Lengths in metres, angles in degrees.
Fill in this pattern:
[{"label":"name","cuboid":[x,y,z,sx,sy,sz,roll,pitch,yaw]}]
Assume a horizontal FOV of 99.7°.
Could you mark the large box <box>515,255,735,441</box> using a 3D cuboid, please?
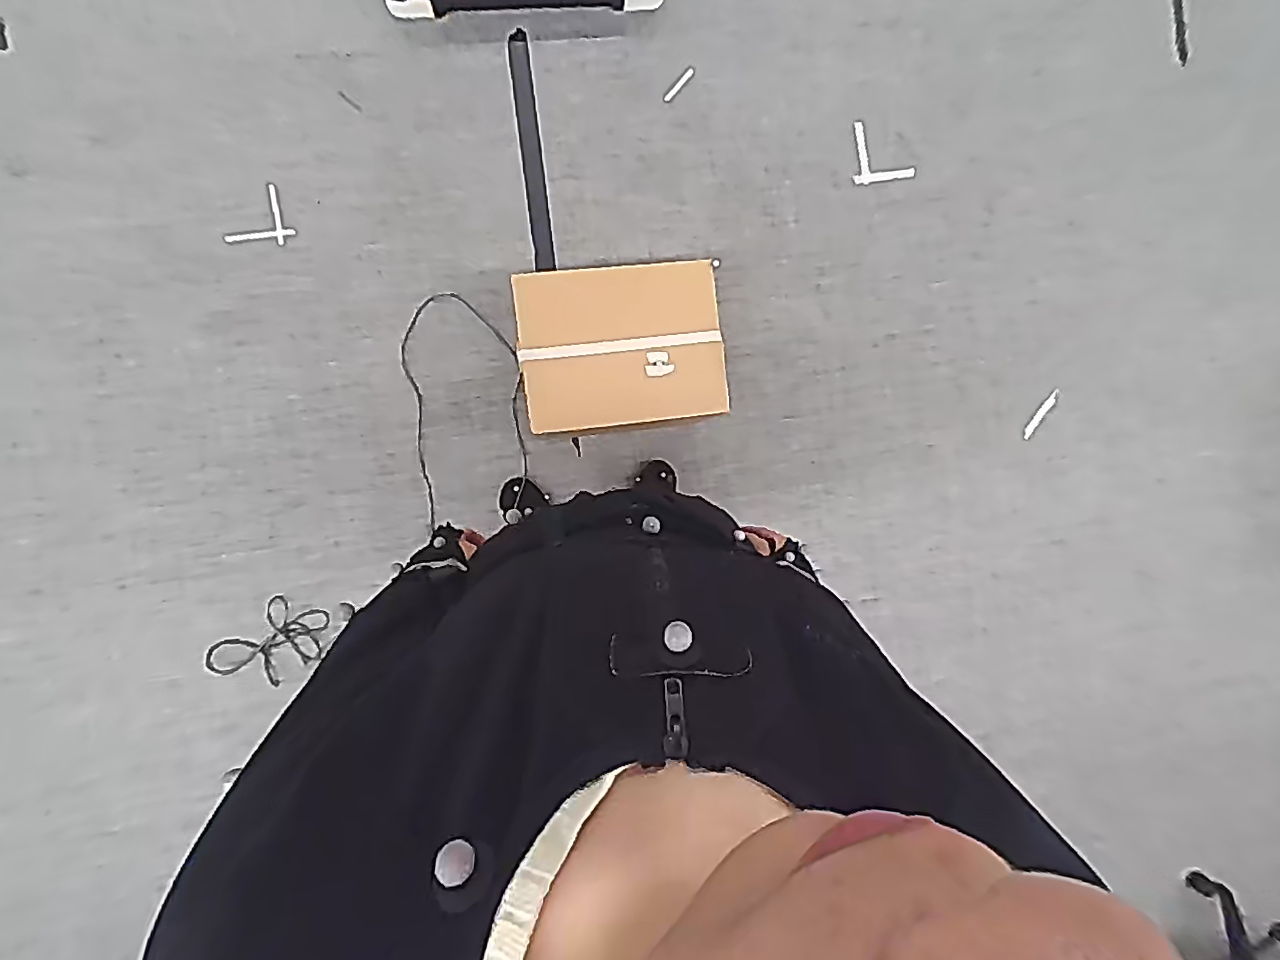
[{"label":"large box","cuboid":[-0.045,-0.270,1.198,0.408,0.320,0.320,-7,93,-8]}]
